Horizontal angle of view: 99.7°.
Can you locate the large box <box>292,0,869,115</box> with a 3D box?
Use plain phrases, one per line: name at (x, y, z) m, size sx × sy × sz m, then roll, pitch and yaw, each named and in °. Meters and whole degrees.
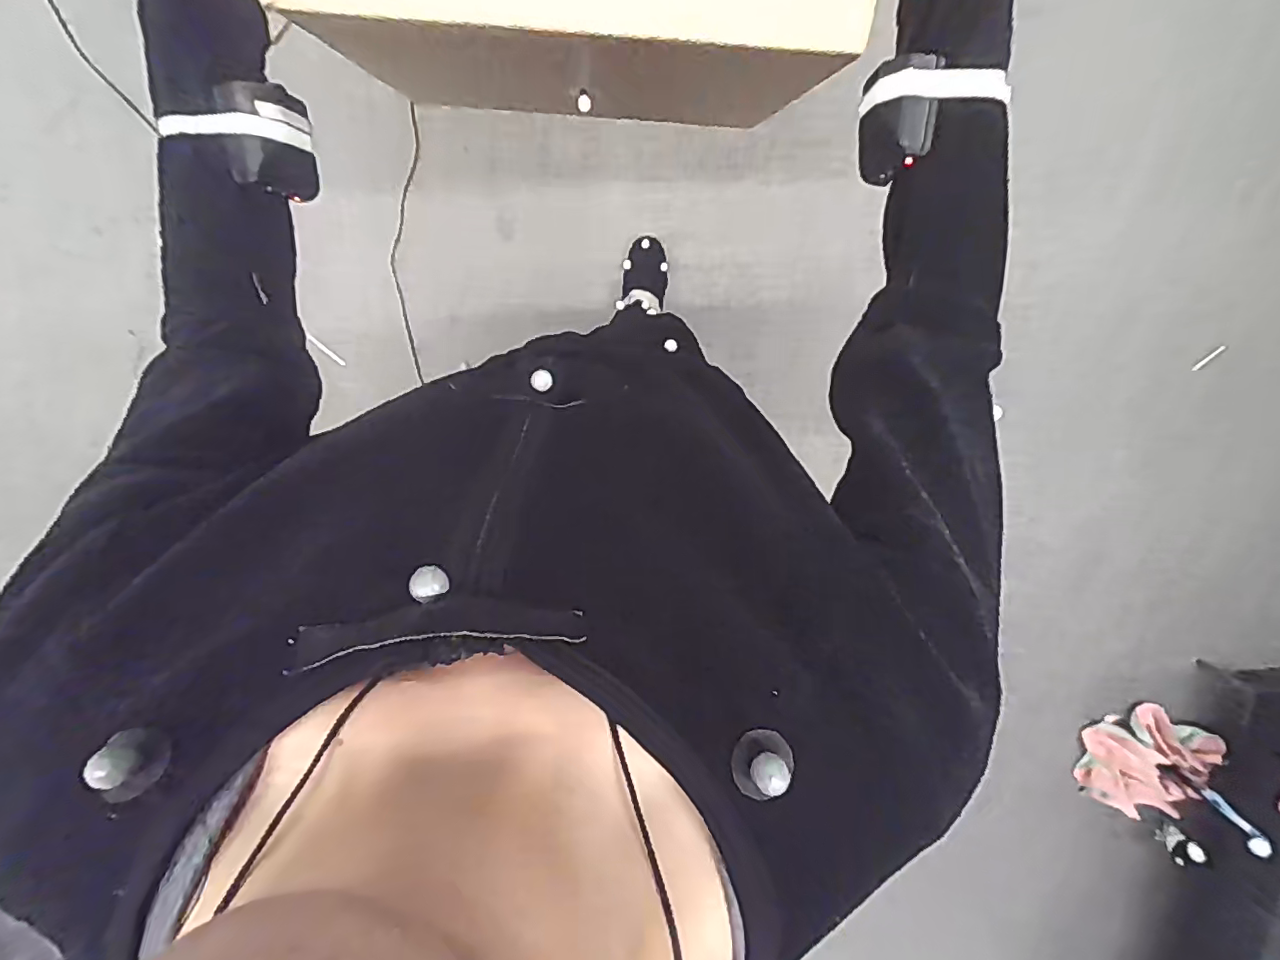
large box at (-0.038, -0.512, 0.448) m, size 0.408 × 0.320 × 0.320 m, roll 1°, pitch 115°, yaw -4°
